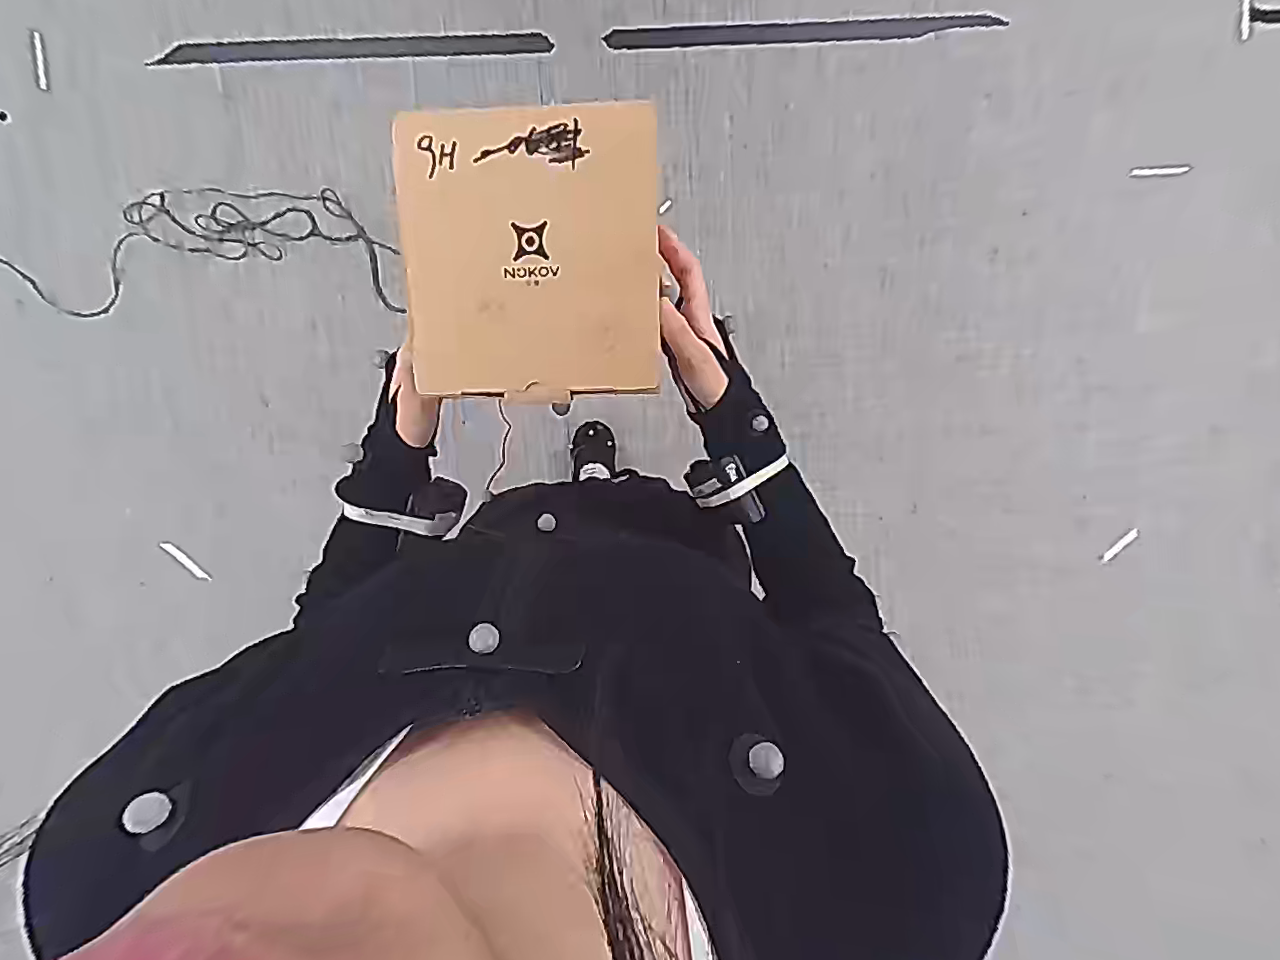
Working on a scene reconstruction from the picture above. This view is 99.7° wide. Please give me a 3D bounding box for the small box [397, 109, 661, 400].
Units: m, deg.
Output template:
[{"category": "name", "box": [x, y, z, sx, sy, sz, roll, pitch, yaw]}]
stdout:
[{"category": "small box", "box": [-0.067, -0.156, 0.427, 0.168, 0.176, 0.179, -1, 100, 1]}]
